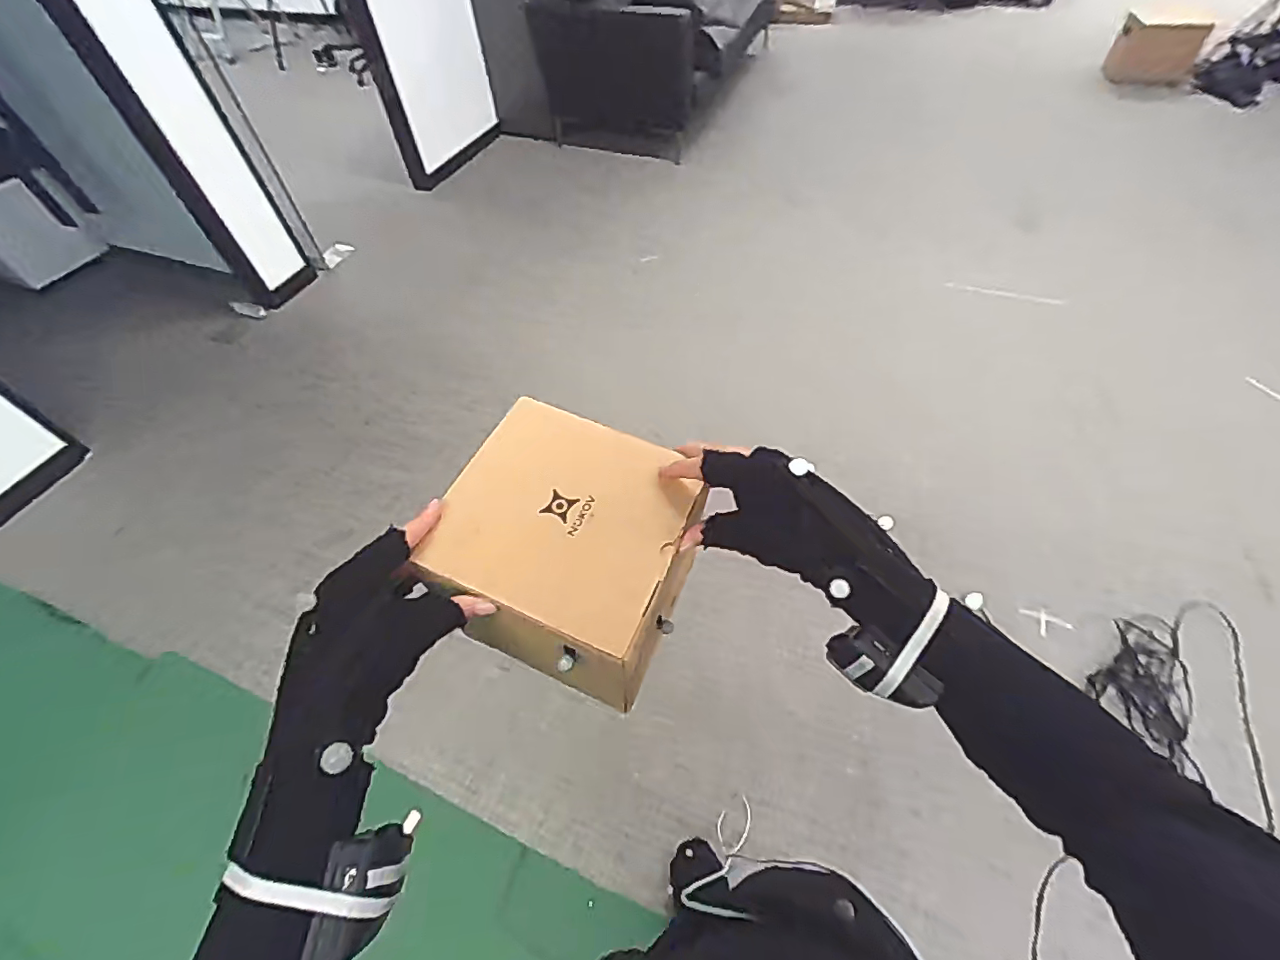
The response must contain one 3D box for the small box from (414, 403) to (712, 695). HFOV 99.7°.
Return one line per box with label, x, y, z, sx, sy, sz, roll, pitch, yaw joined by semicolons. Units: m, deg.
small box;-0.055;0.067;0.477;0.179;0.176;0.168;21;59;12
